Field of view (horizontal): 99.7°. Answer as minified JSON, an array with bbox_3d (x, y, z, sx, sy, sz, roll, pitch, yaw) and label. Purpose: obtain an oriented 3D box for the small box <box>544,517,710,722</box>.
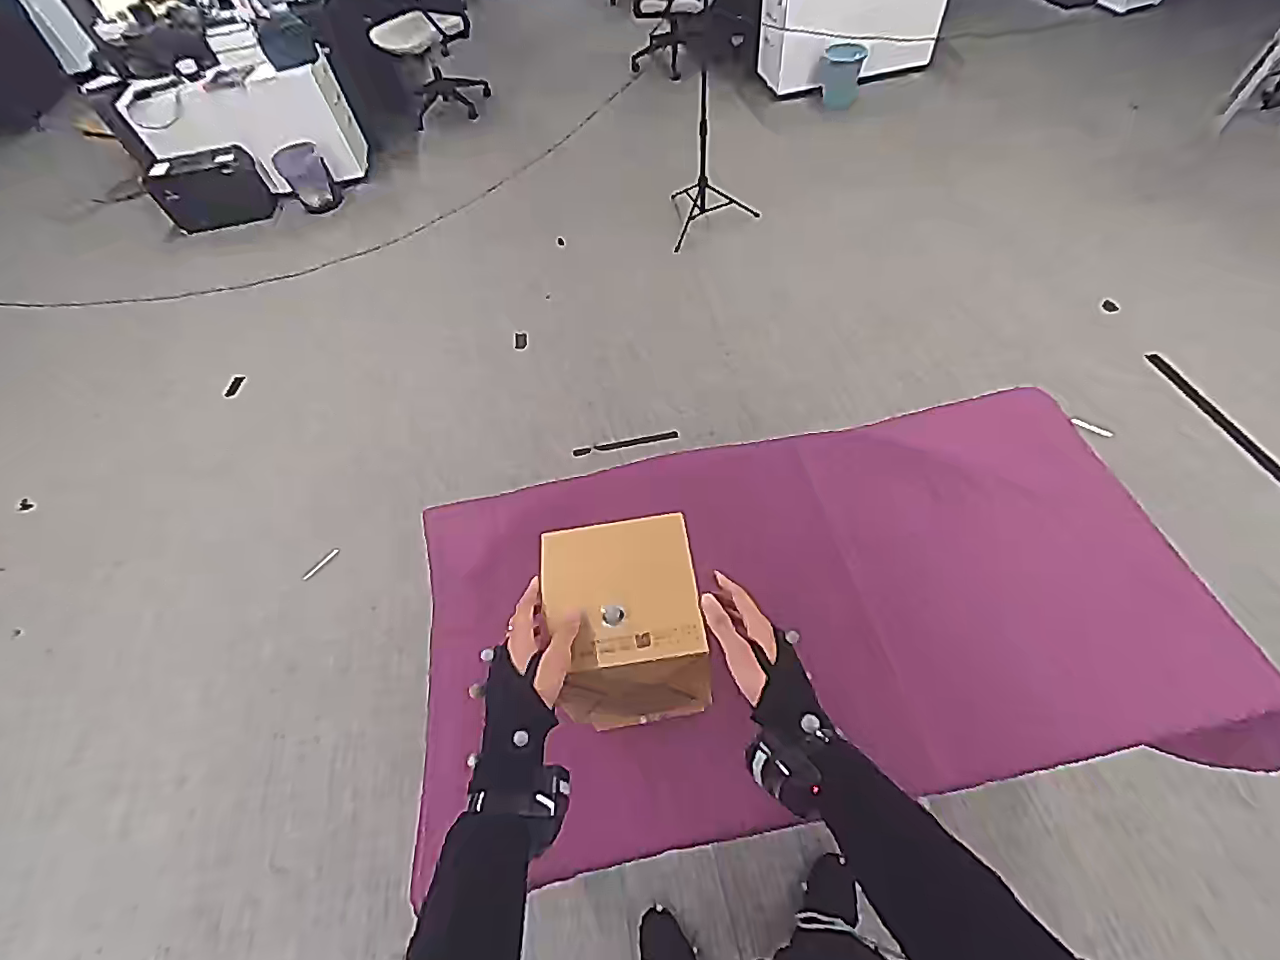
[{"bbox_3d":[-0.015,0.169,0.631,0.168,0.179,0.176,-9,52,1],"label":"small box"}]
